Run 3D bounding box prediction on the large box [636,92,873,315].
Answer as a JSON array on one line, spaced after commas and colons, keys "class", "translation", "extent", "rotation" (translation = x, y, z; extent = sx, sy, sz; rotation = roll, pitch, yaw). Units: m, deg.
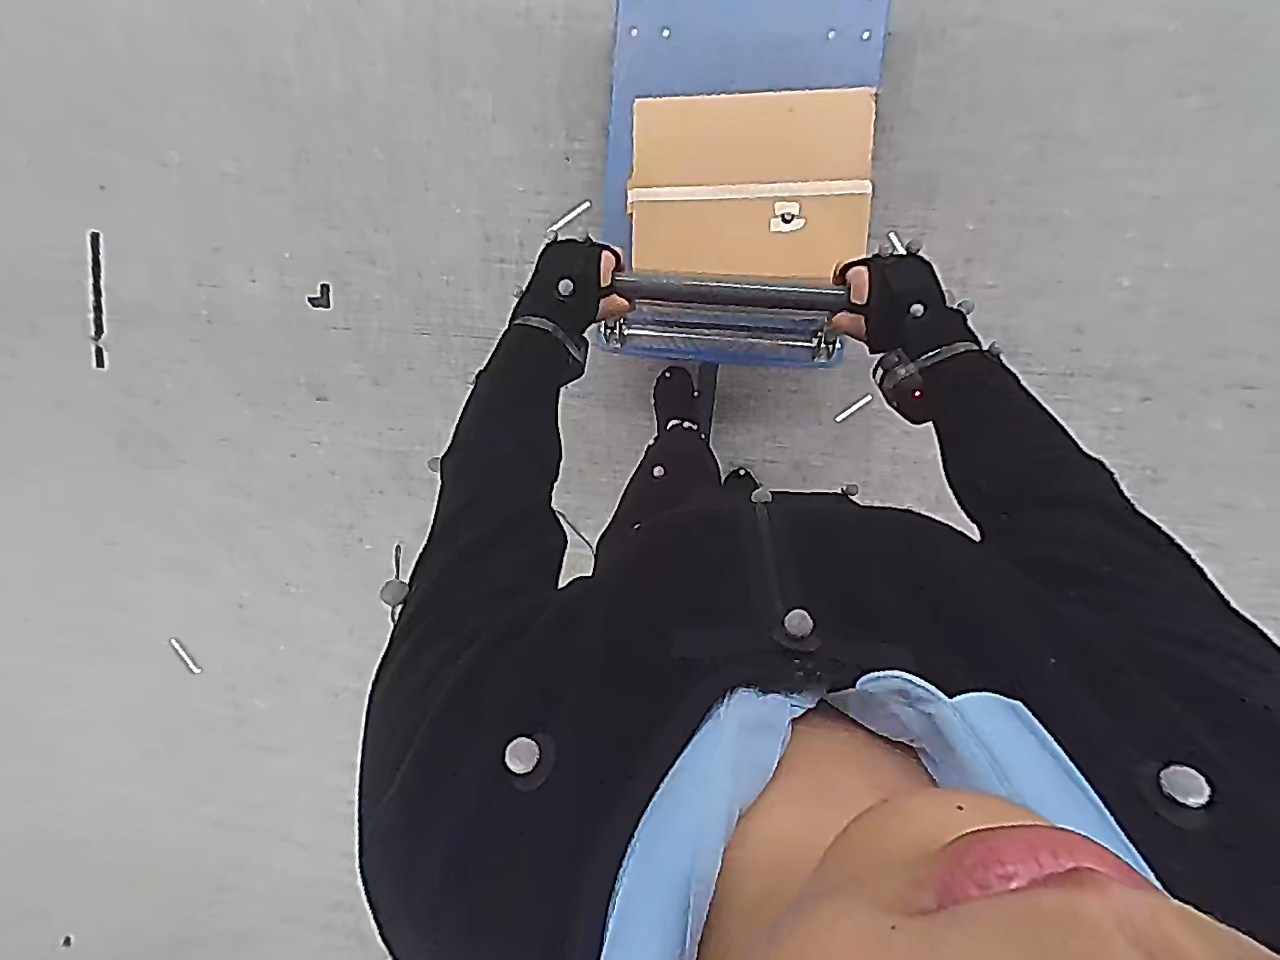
[{"class": "large box", "translation": [0.204, -0.518, 1.086], "extent": [0.408, 0.320, 0.320], "rotation": [1, 99, 5]}]
